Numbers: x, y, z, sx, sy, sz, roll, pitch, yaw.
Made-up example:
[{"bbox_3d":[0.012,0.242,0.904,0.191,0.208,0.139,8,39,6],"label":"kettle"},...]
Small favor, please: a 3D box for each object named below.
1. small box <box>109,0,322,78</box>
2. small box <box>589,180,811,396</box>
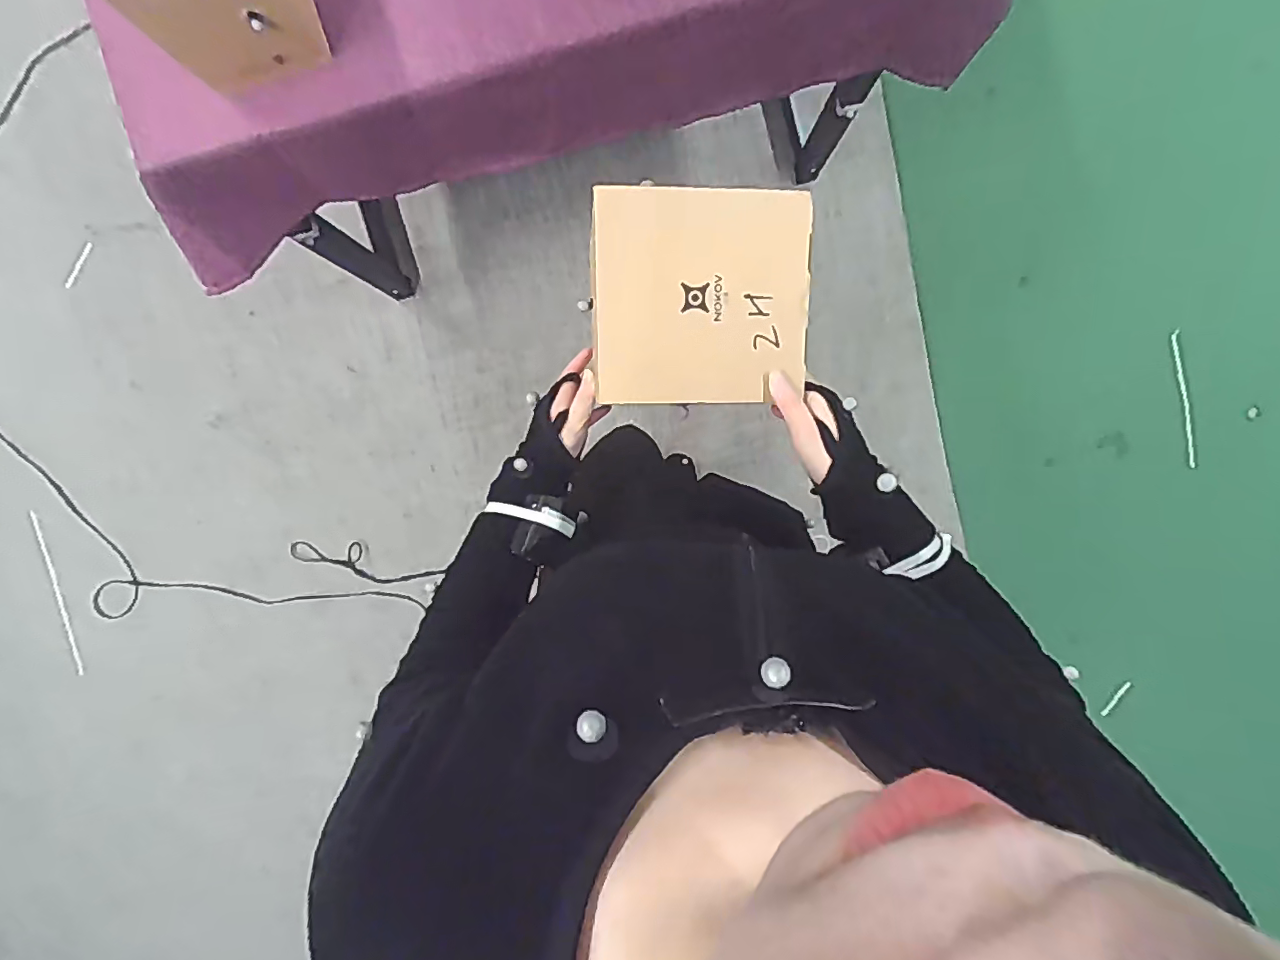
[{"bbox_3d":[-0.519,-0.625,0.643,0.168,0.176,0.179,-17,93,0],"label":"small box"},{"bbox_3d":[0.041,-0.164,0.510,0.179,0.176,0.168,-1,102,-6],"label":"small box"}]
